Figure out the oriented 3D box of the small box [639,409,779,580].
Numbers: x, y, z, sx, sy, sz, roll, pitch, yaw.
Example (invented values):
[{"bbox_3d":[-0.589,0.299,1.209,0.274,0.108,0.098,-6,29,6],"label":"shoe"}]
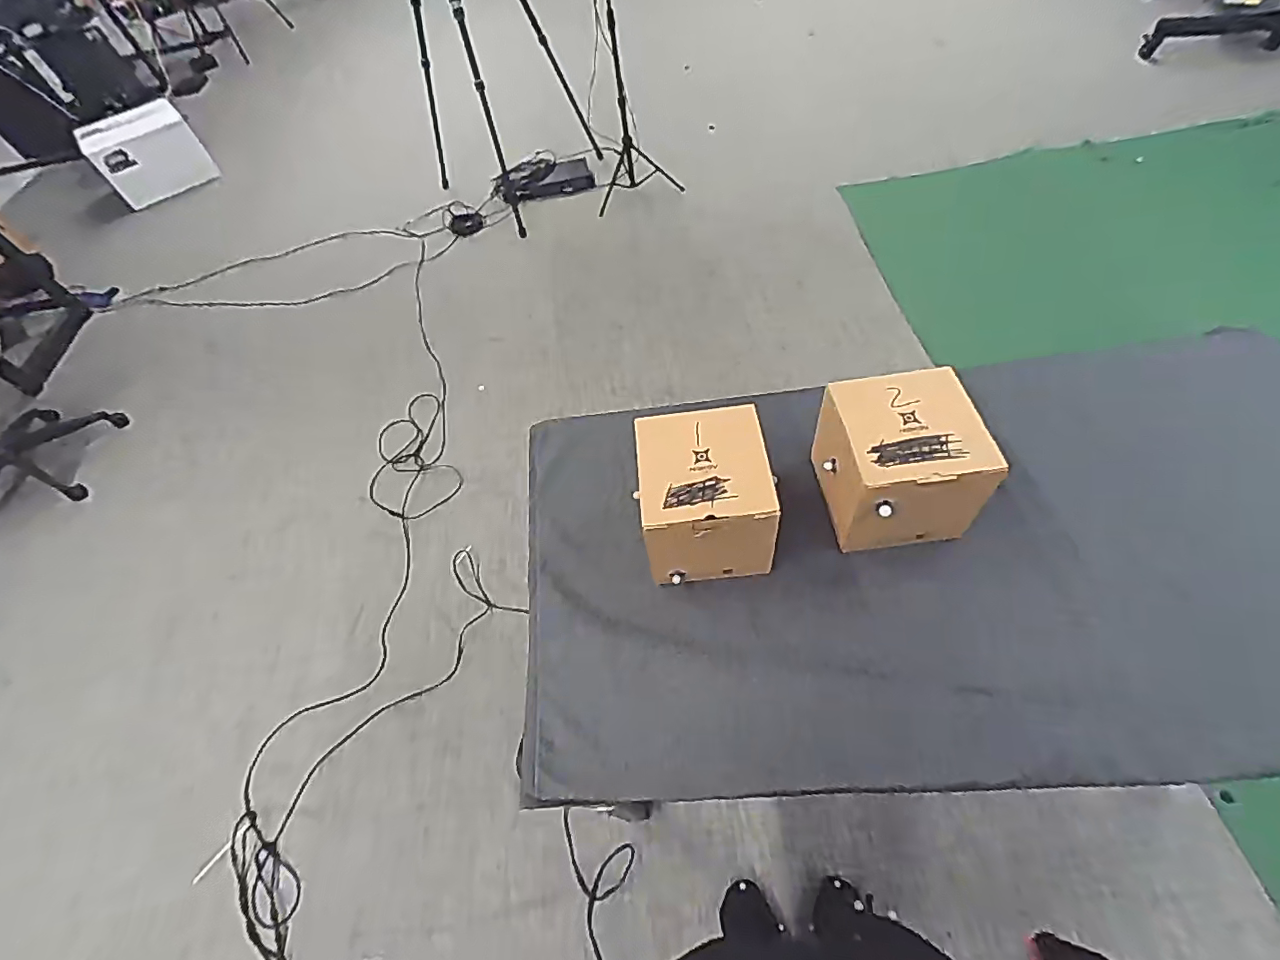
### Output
[{"bbox_3d":[0.093,0.029,0.756,0.168,0.176,0.179,-6,54,4],"label":"small box"}]
